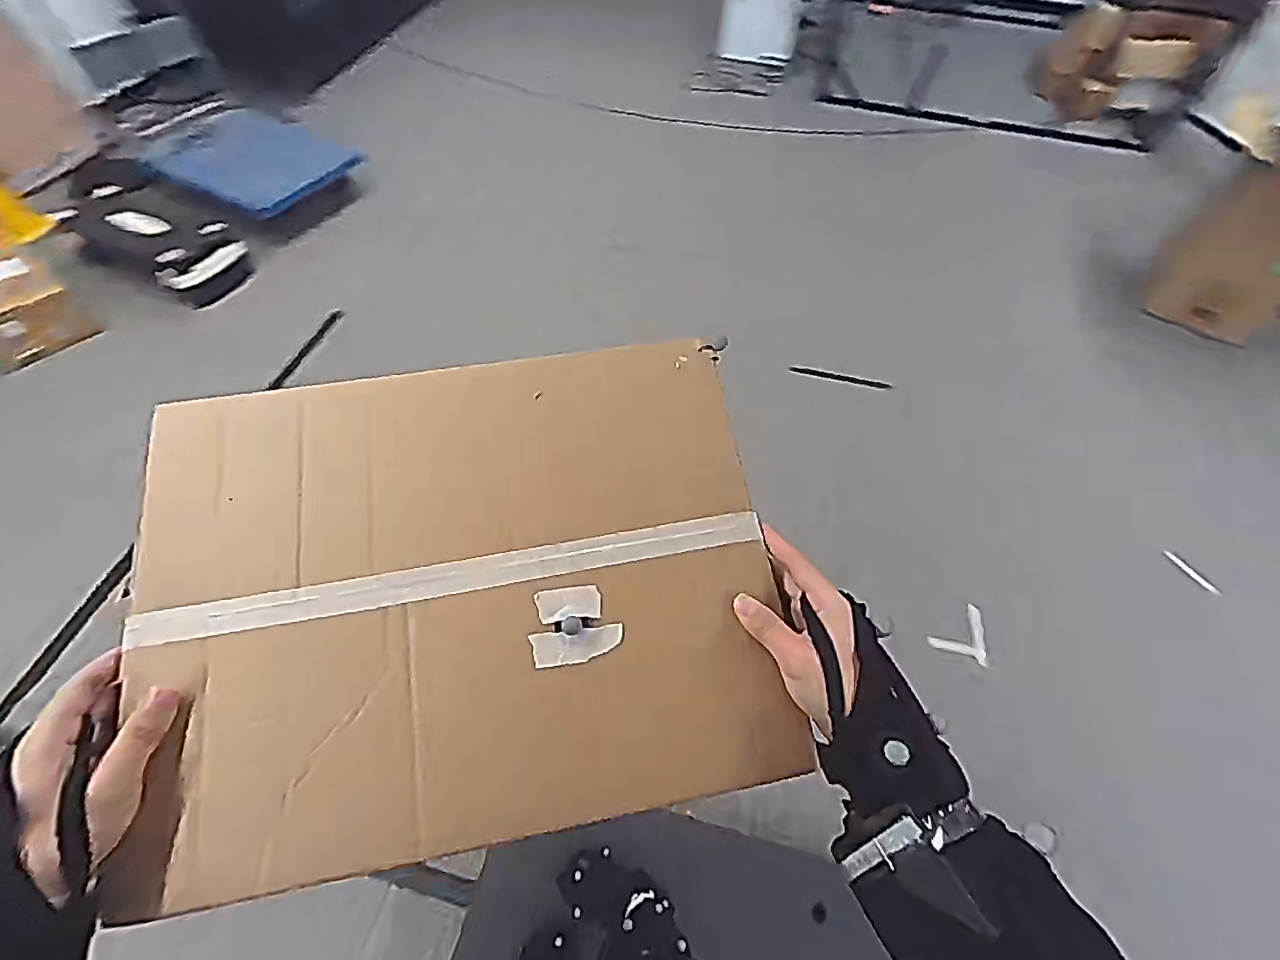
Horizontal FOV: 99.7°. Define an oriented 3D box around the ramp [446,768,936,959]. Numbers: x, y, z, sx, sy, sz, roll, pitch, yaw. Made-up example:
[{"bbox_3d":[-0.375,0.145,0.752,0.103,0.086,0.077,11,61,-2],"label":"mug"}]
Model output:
[{"bbox_3d":[0.135,0.965,1.060,0.991,0.206,0.509,12,55,4],"label":"ramp"}]
